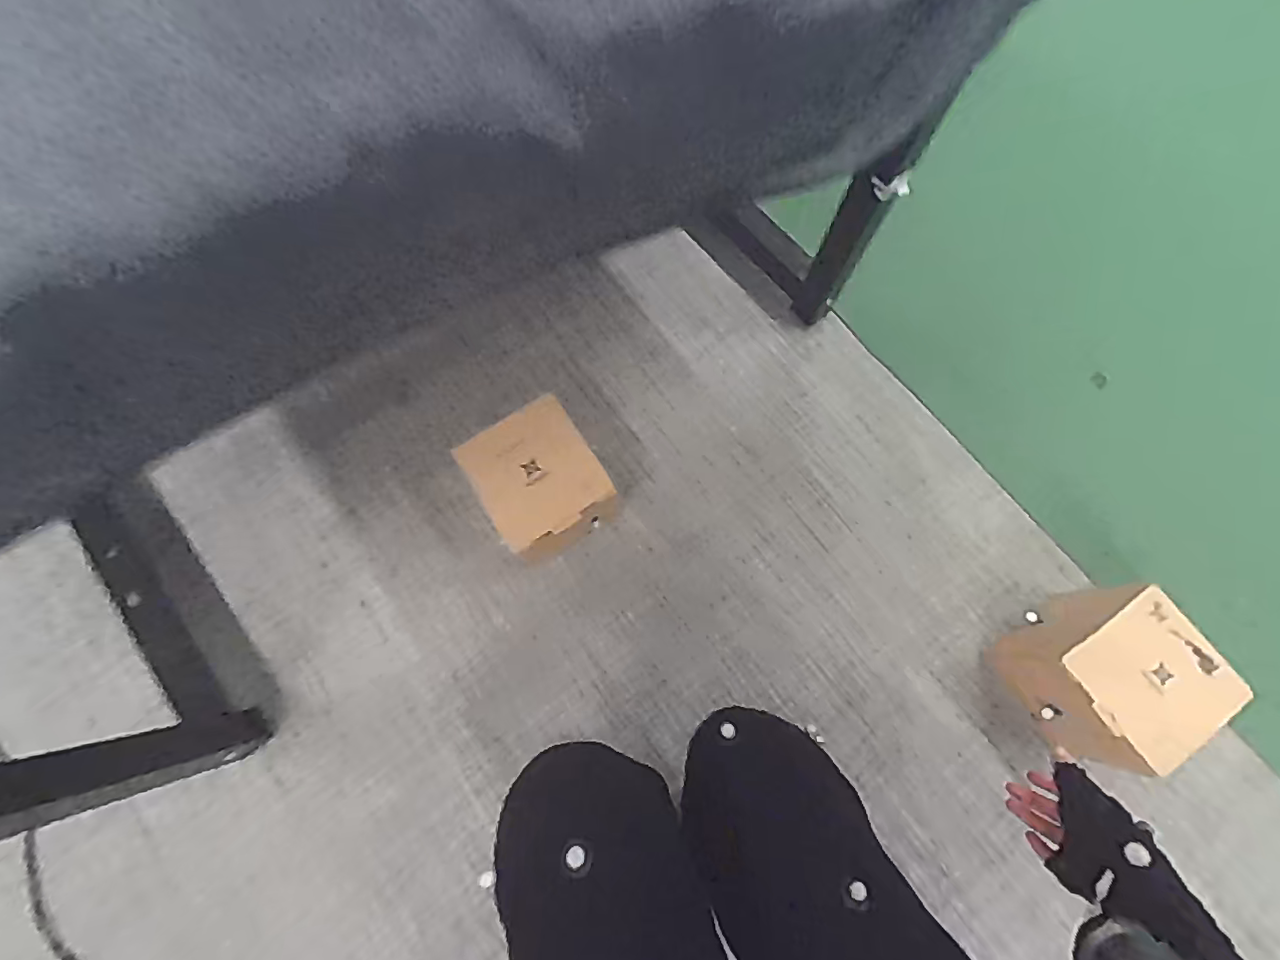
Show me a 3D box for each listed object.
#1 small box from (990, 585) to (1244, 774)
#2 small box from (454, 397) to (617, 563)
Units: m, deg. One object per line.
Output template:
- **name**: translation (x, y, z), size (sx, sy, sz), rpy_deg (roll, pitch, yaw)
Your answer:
- **small box**: translation (0.634, 0.267, 0.753), size (0.179, 0.176, 0.168), rpy_deg (-32, 77, -8)
- **small box**: translation (-0.146, 0.012, 0.821), size (0.168, 0.176, 0.179), rpy_deg (-33, 76, -9)
